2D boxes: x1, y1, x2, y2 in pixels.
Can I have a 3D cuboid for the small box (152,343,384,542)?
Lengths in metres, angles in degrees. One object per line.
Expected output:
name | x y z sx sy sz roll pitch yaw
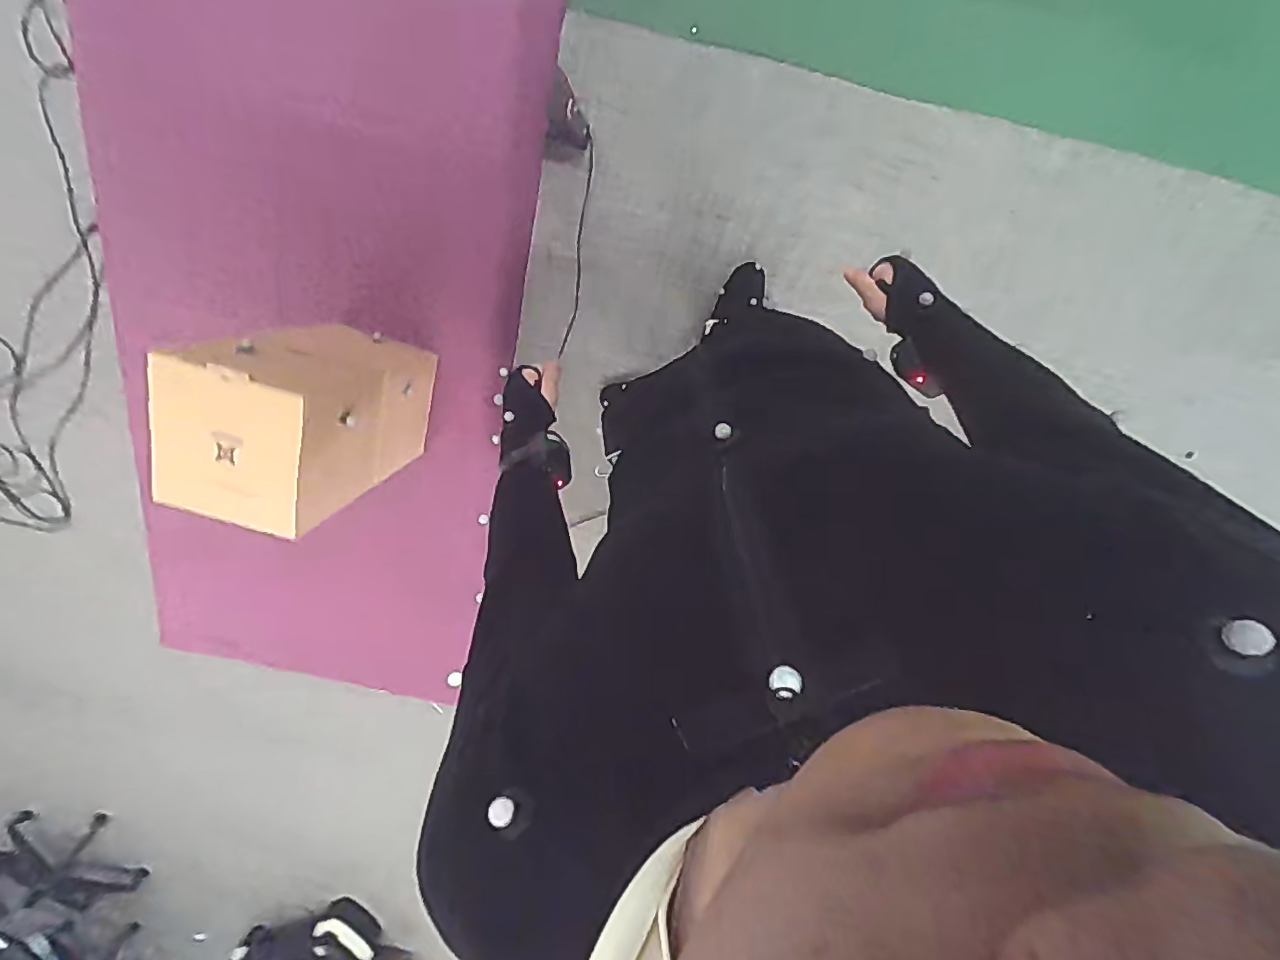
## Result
small box | -0.437 -0.057 0.657 0.168 0.176 0.179 17 110 -2
